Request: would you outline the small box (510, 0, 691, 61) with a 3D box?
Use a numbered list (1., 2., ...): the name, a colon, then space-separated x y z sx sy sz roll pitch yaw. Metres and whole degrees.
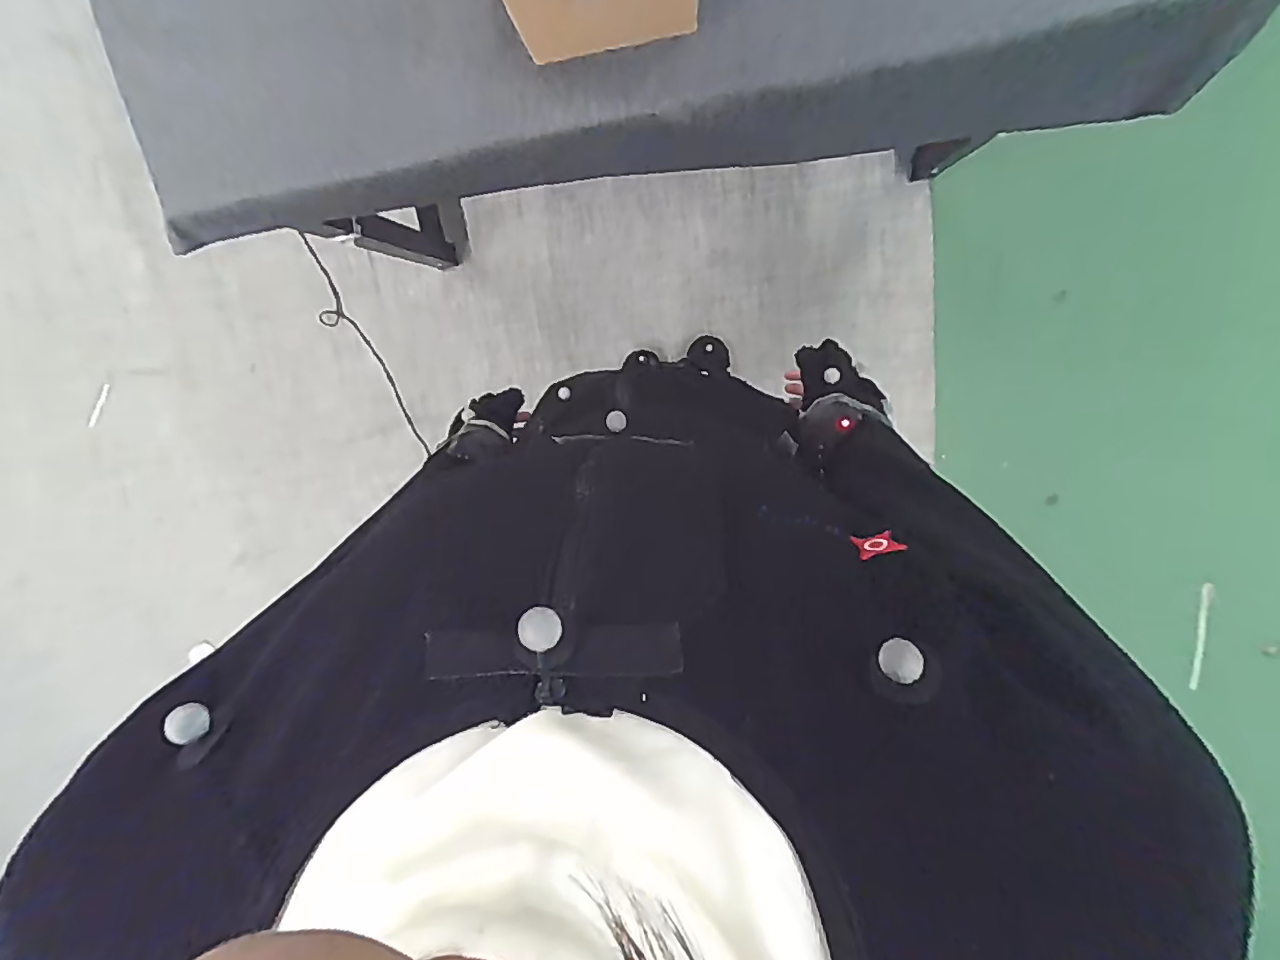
1. small box: -0.047 -0.524 0.492 0.179 0.176 0.168 -7 104 6
